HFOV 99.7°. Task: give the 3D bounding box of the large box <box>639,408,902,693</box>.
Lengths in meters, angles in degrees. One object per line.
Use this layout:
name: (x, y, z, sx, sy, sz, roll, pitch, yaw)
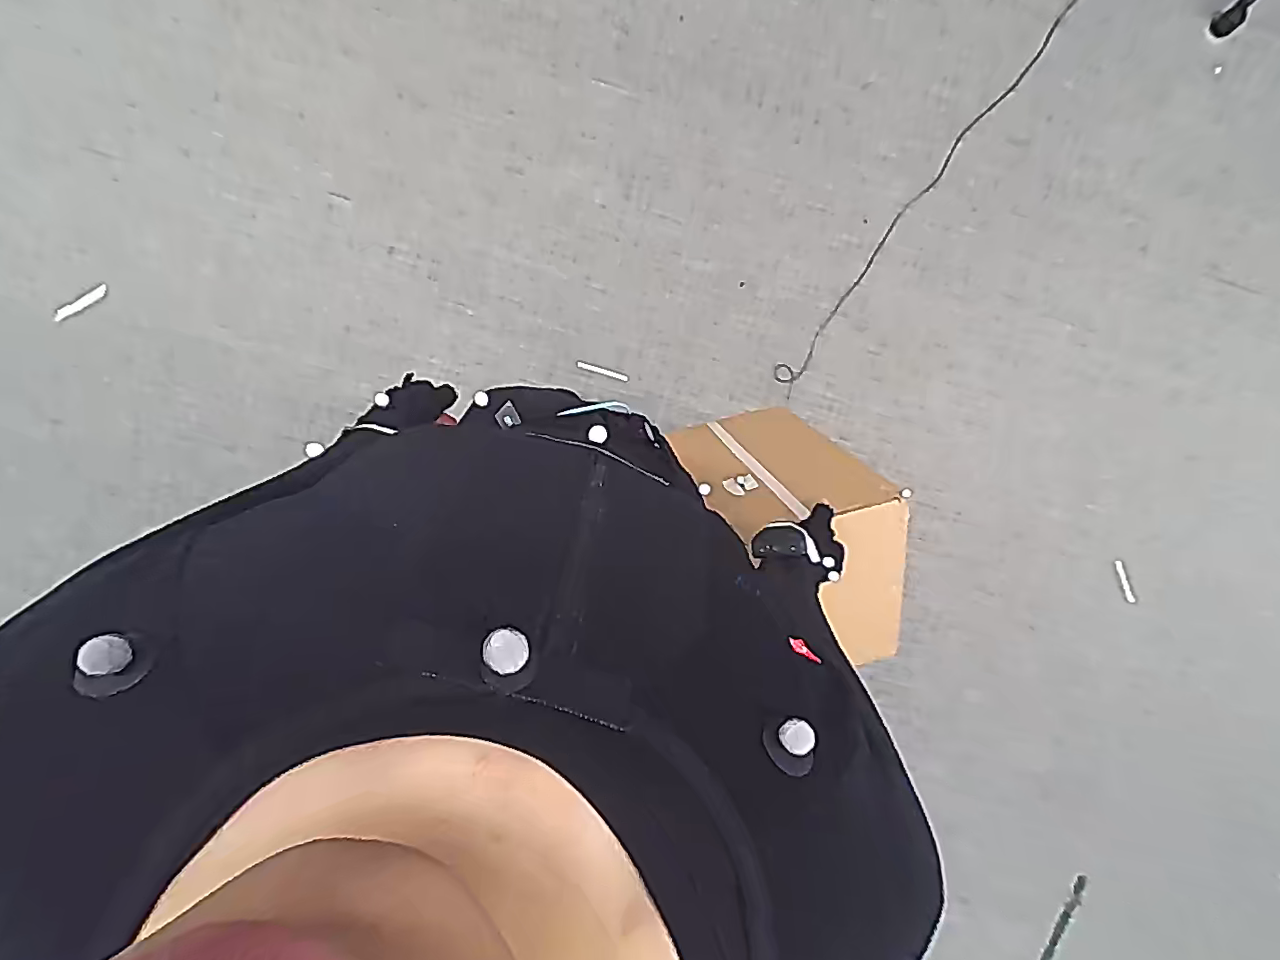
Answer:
large box: (0.208, 0.103, 1.005, 0.320, 0.408, 0.320, -14, 120, -7)
